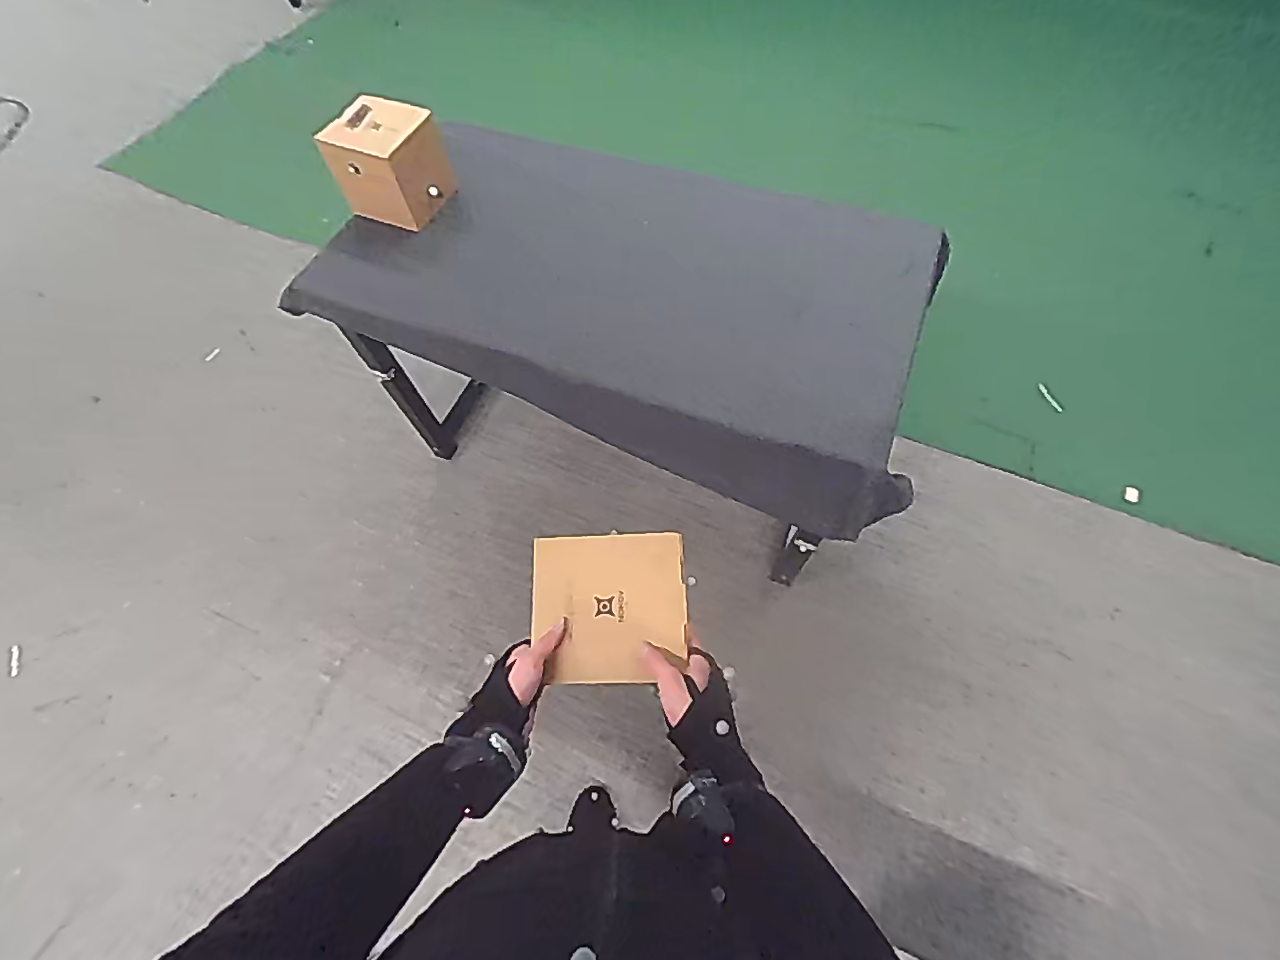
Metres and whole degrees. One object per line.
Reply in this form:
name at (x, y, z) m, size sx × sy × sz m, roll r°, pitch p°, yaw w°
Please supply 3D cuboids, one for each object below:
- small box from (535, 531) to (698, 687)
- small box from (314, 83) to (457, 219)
small box at (-0.023, 0.164, 0.673) m, size 0.179 × 0.176 × 0.168 m, roll -4°, pitch 70°, yaw 3°
small box at (-0.517, -0.679, 1.127) m, size 0.179 × 0.176 × 0.168 m, roll 21°, pitch 66°, yaw 10°
